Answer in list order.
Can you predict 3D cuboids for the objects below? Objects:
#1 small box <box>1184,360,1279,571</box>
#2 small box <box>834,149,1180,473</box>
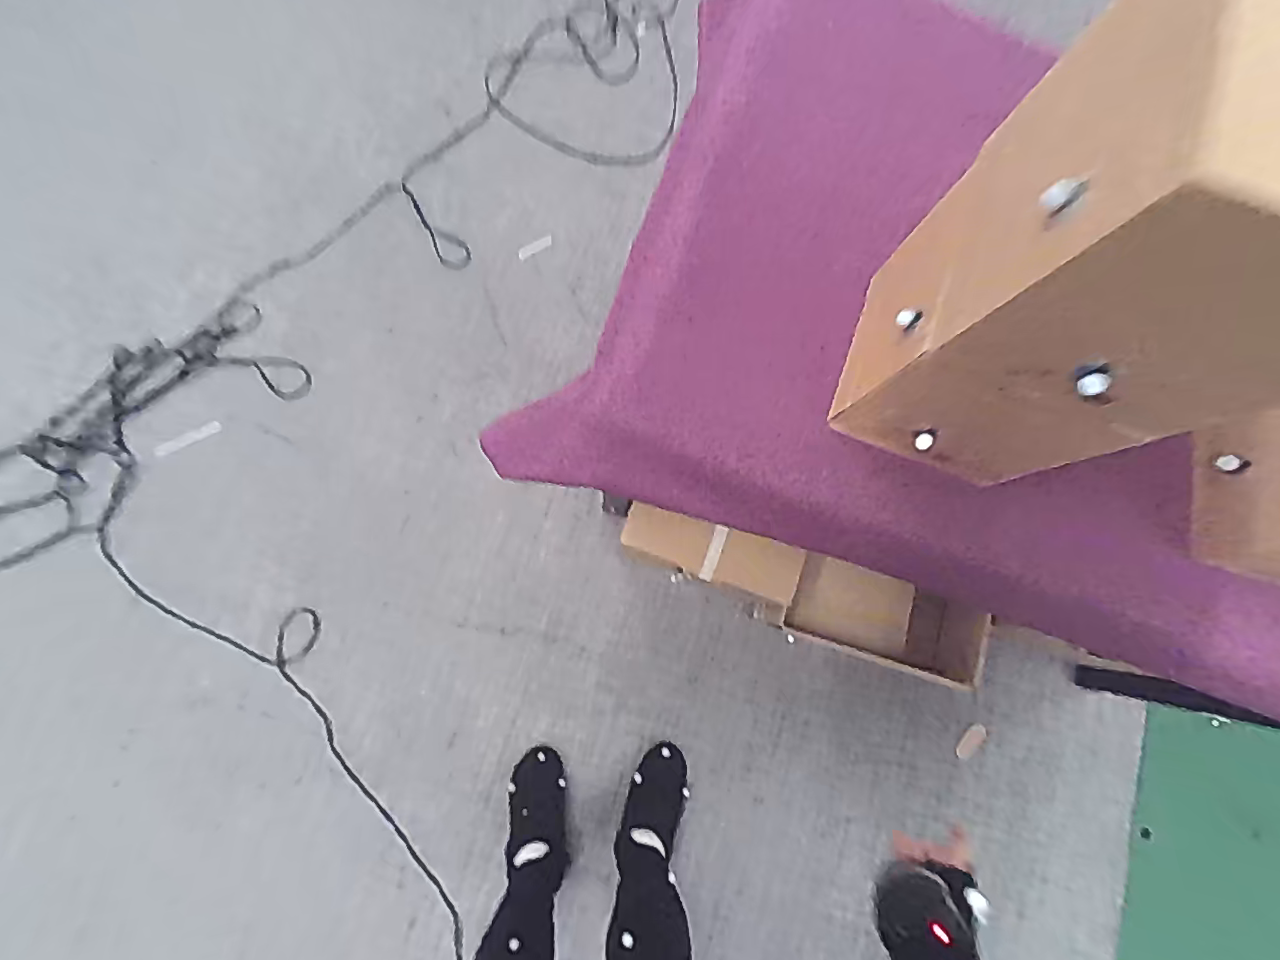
[{"bbox_3d":[0.627,-0.008,0.462,0.168,0.176,0.179,16,77,-1],"label":"small box"},{"bbox_3d":[0.292,-0.125,0.464,0.168,0.176,0.179,21,78,0],"label":"small box"}]
